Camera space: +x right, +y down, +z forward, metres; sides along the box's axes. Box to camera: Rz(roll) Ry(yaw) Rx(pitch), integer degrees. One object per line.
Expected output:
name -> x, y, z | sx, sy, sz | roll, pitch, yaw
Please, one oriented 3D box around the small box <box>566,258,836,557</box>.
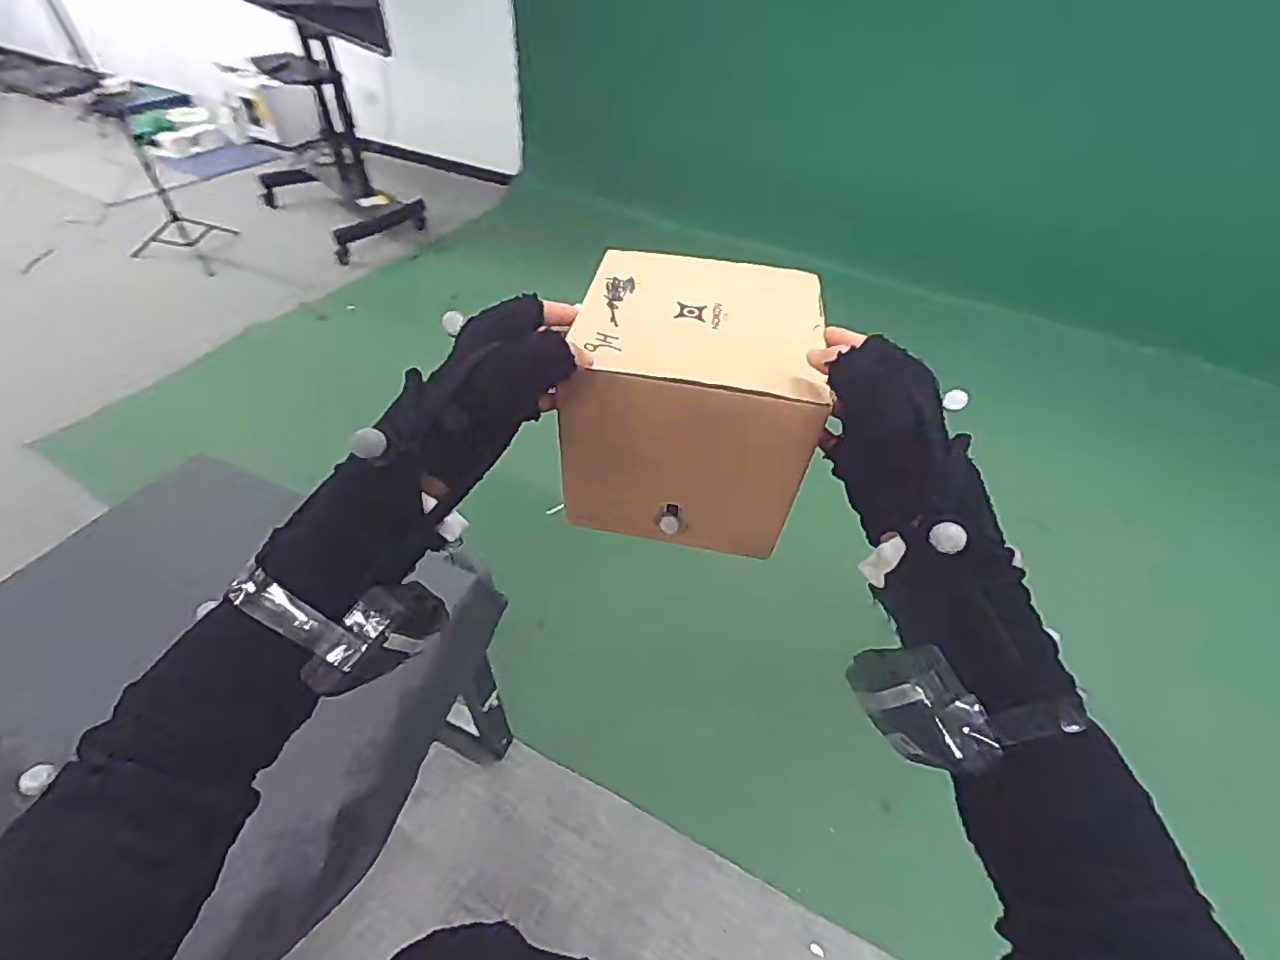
small box -> 0.046, -0.057, 0.452 | 0.179, 0.176, 0.168 | 11, 47, 5
